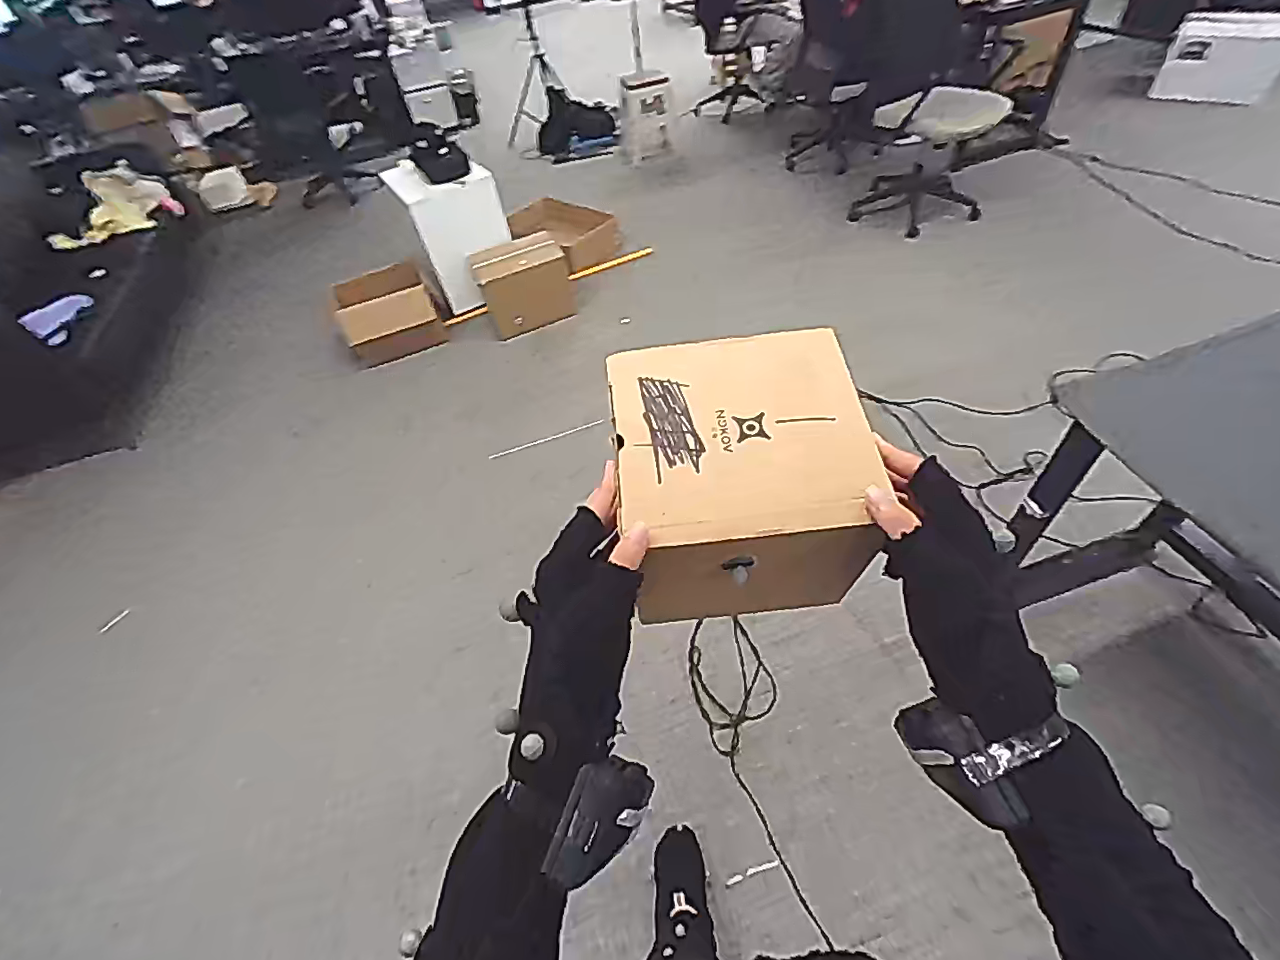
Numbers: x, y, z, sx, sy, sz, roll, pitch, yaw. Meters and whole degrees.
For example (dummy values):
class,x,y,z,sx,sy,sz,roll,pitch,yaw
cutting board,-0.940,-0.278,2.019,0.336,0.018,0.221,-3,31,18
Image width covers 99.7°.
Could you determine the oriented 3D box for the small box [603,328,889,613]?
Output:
class,x,y,z,sx,sy,sz,roll,pitch,yaw
small box,0.070,0.003,0.442,0.179,0.176,0.168,-6,60,1
